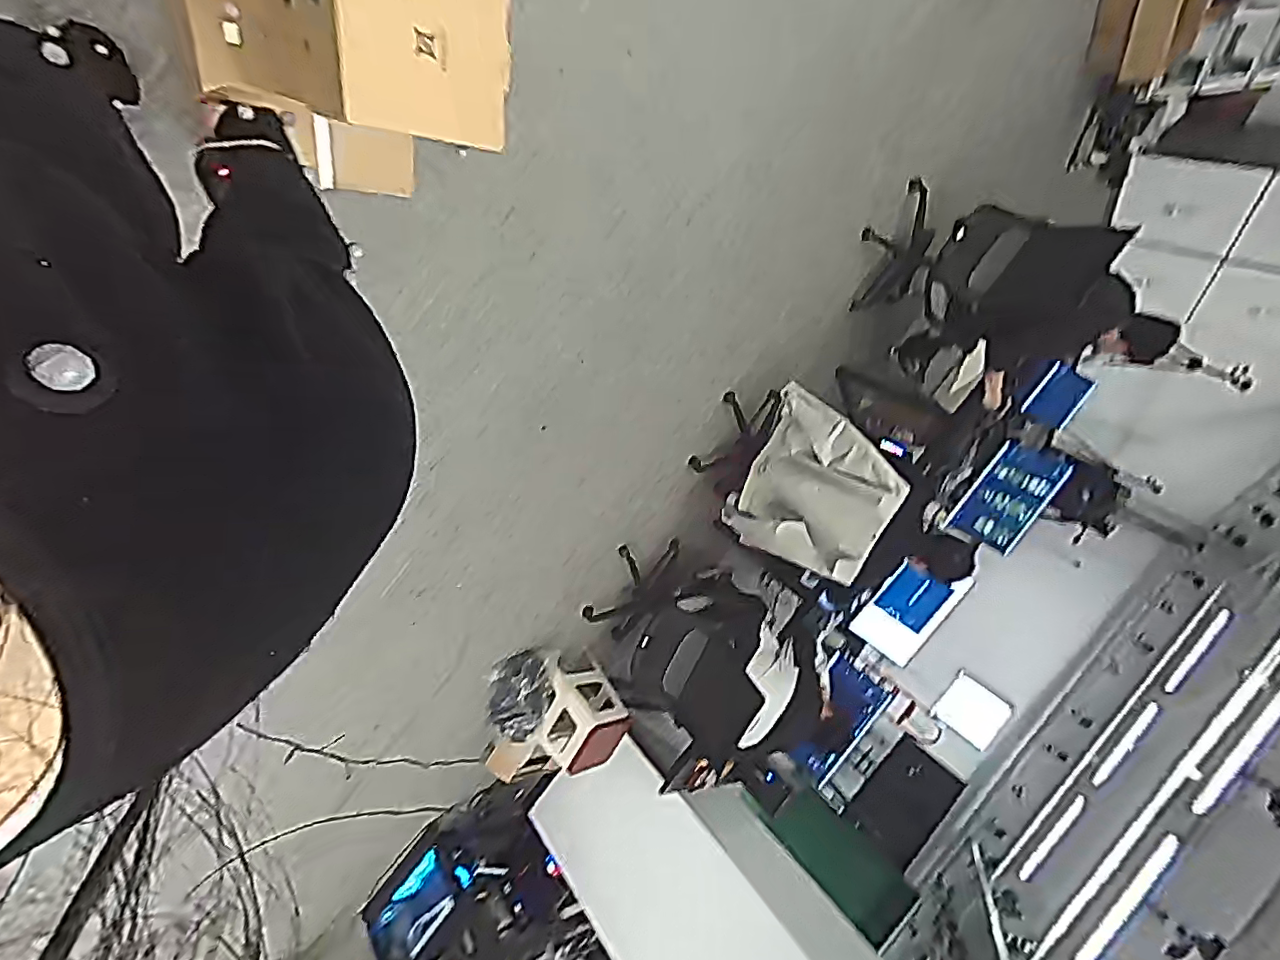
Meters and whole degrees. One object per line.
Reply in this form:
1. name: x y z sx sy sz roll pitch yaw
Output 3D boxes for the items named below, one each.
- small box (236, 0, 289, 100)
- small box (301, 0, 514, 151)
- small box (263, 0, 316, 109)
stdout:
1. small box: -0.467 -0.646 0.791 0.179 0.176 0.168 -15 130 -38
2. small box: -0.260 -0.481 0.599 0.179 0.176 0.168 -16 131 -38
3. small box: -0.361 -0.565 0.696 0.179 0.176 0.168 -16 130 -39
